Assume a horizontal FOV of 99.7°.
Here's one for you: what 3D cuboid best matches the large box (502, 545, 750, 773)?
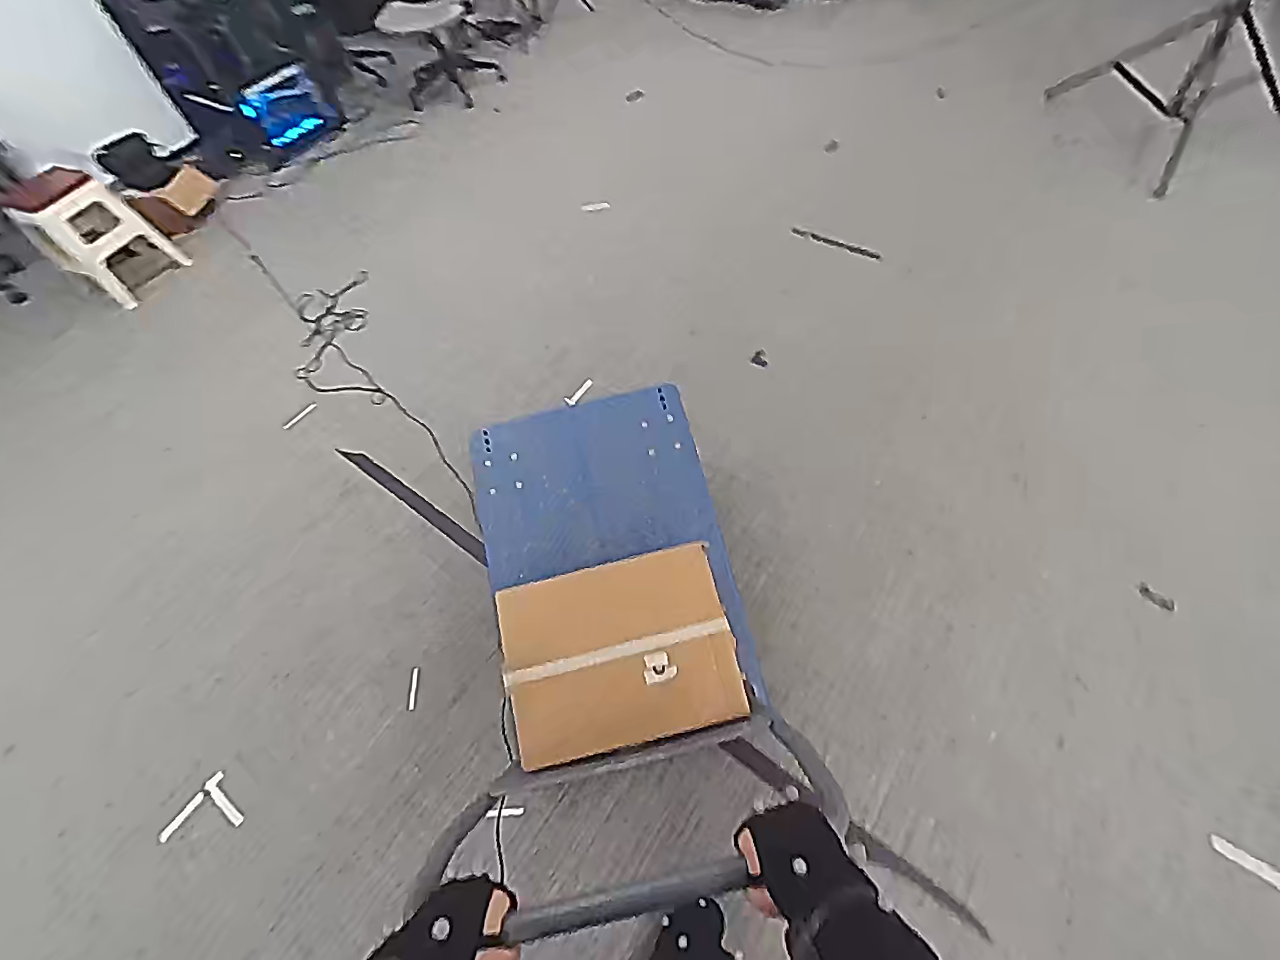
[{"bbox_3d":[-0.029,0.363,1.126,0.408,0.320,0.320,-15,73,-2],"label":"large box"}]
